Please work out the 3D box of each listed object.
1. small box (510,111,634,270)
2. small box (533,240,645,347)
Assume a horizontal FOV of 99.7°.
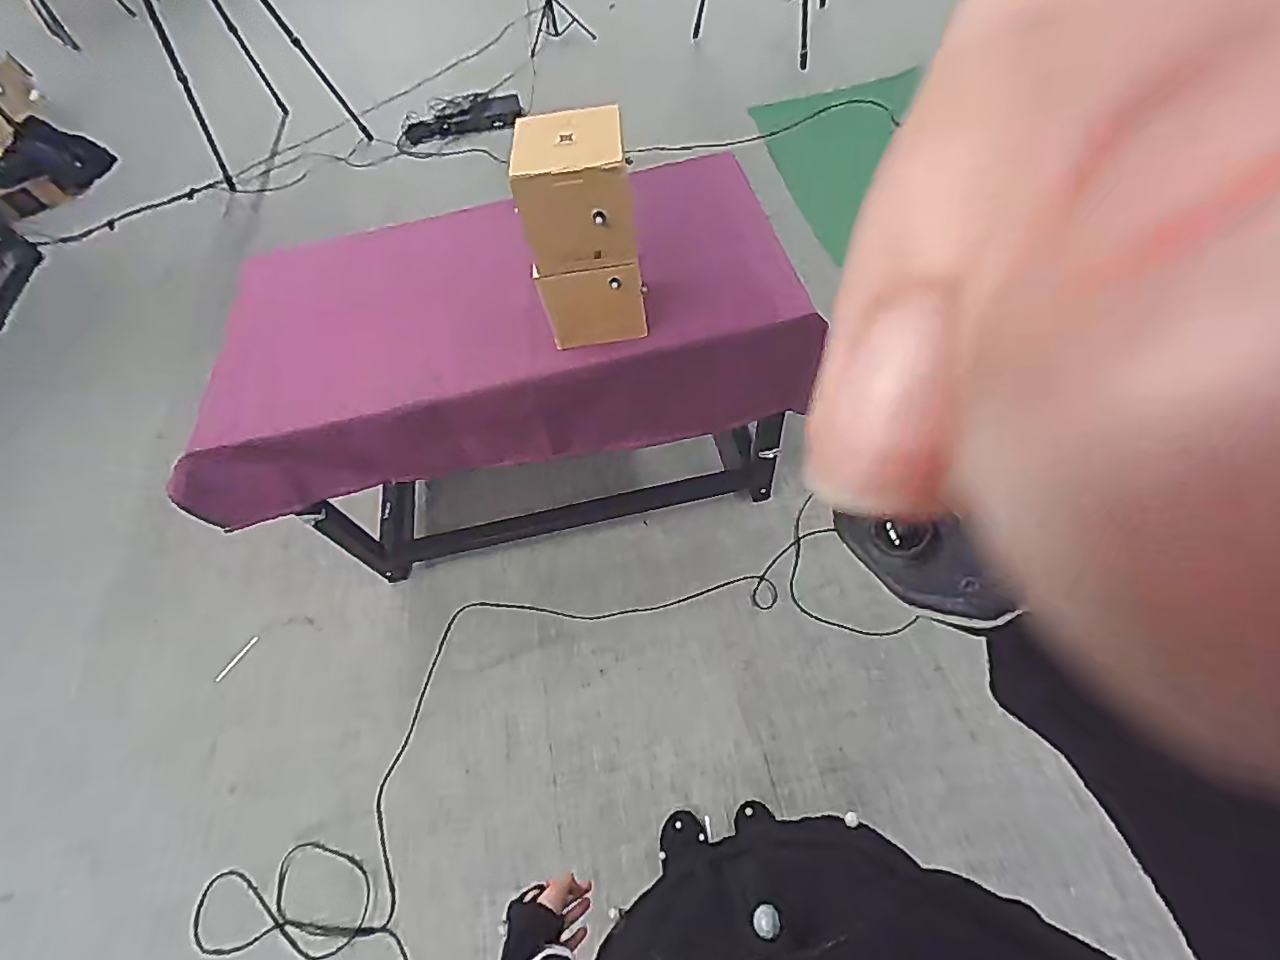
[{"bbox_3d":[-0.102,-0.462,0.884,0.168,0.176,0.179,-5,56,3],"label":"small box"},{"bbox_3d":[-0.090,-0.370,1.018,0.179,0.176,0.168,-7,57,3],"label":"small box"}]
